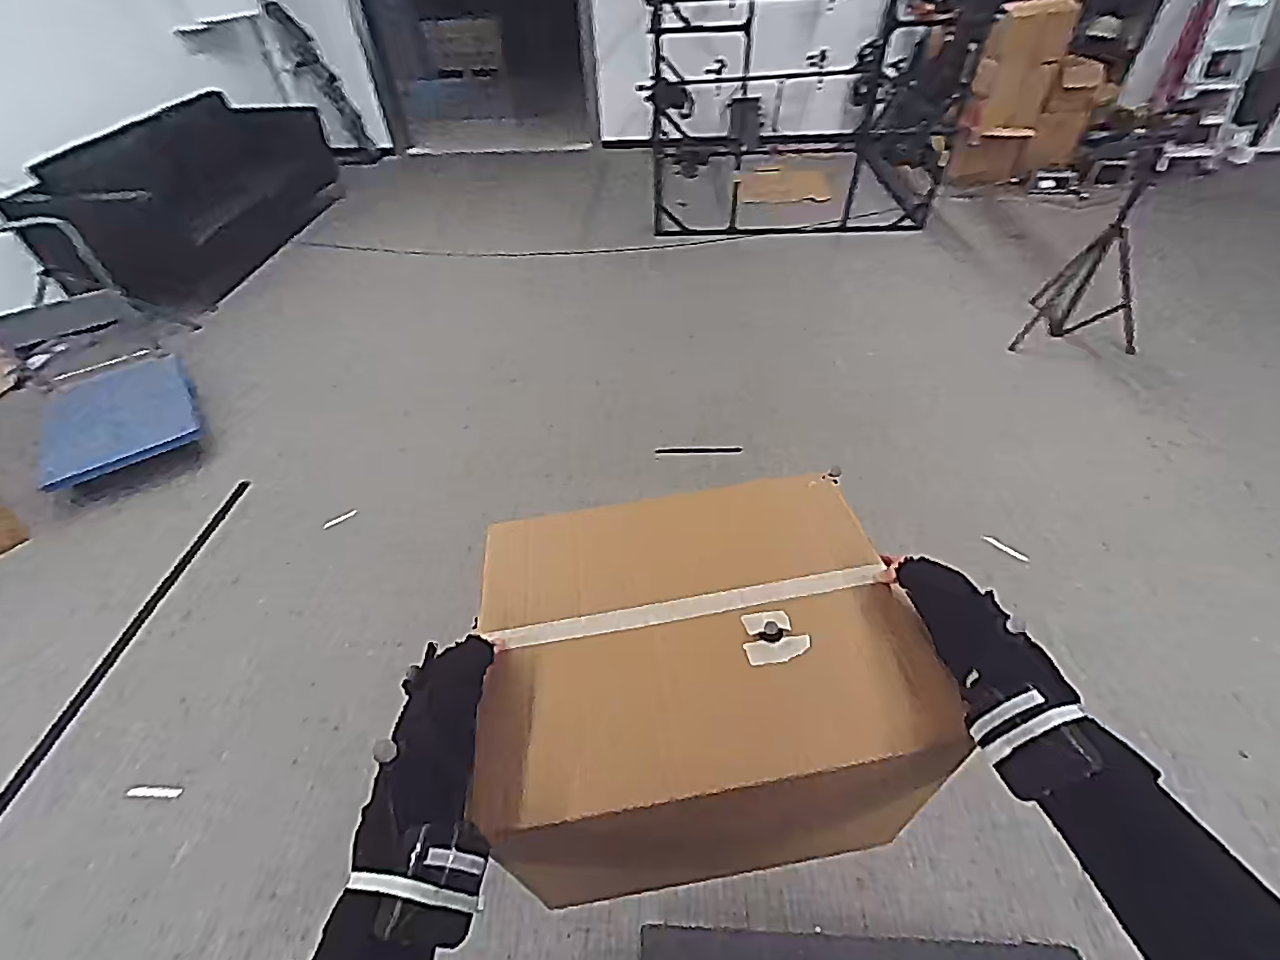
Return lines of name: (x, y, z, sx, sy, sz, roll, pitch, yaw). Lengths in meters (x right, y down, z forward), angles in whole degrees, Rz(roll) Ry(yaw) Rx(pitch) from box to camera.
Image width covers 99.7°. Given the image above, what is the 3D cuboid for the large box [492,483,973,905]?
large box: (0.067, 0.244, 0.636, 0.408, 0.320, 0.320, -9, 43, -3)
